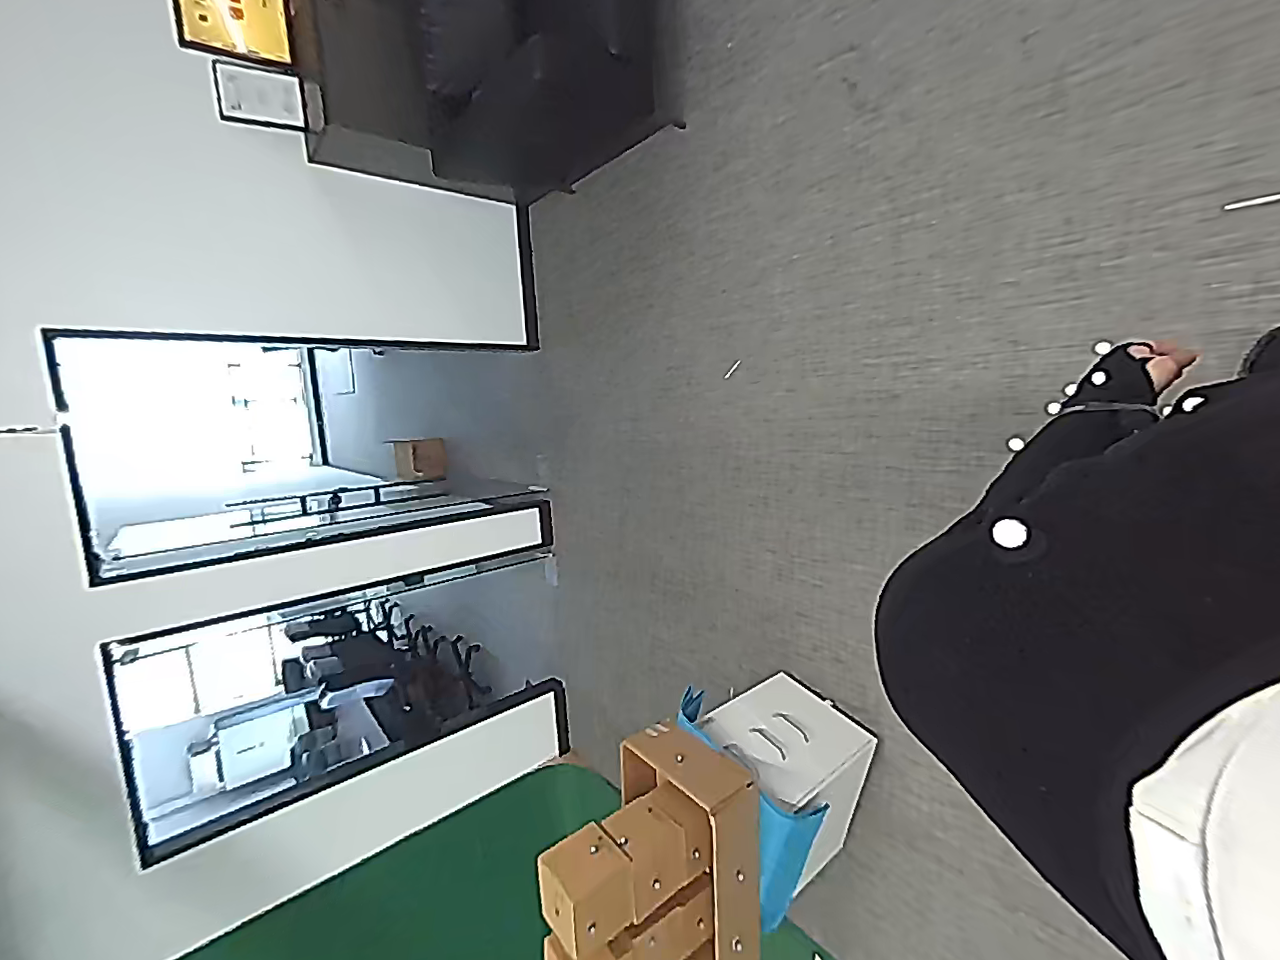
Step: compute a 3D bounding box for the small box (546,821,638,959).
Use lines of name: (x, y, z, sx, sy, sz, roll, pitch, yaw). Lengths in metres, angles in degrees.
small box: (-0.117, 1.005, 1.342, 0.168, 0.176, 0.179, 10, 105, 50)

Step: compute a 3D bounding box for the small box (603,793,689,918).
small box: (0.017, 0.989, 1.440, 0.168, 0.176, 0.179, 7, 105, 51)
